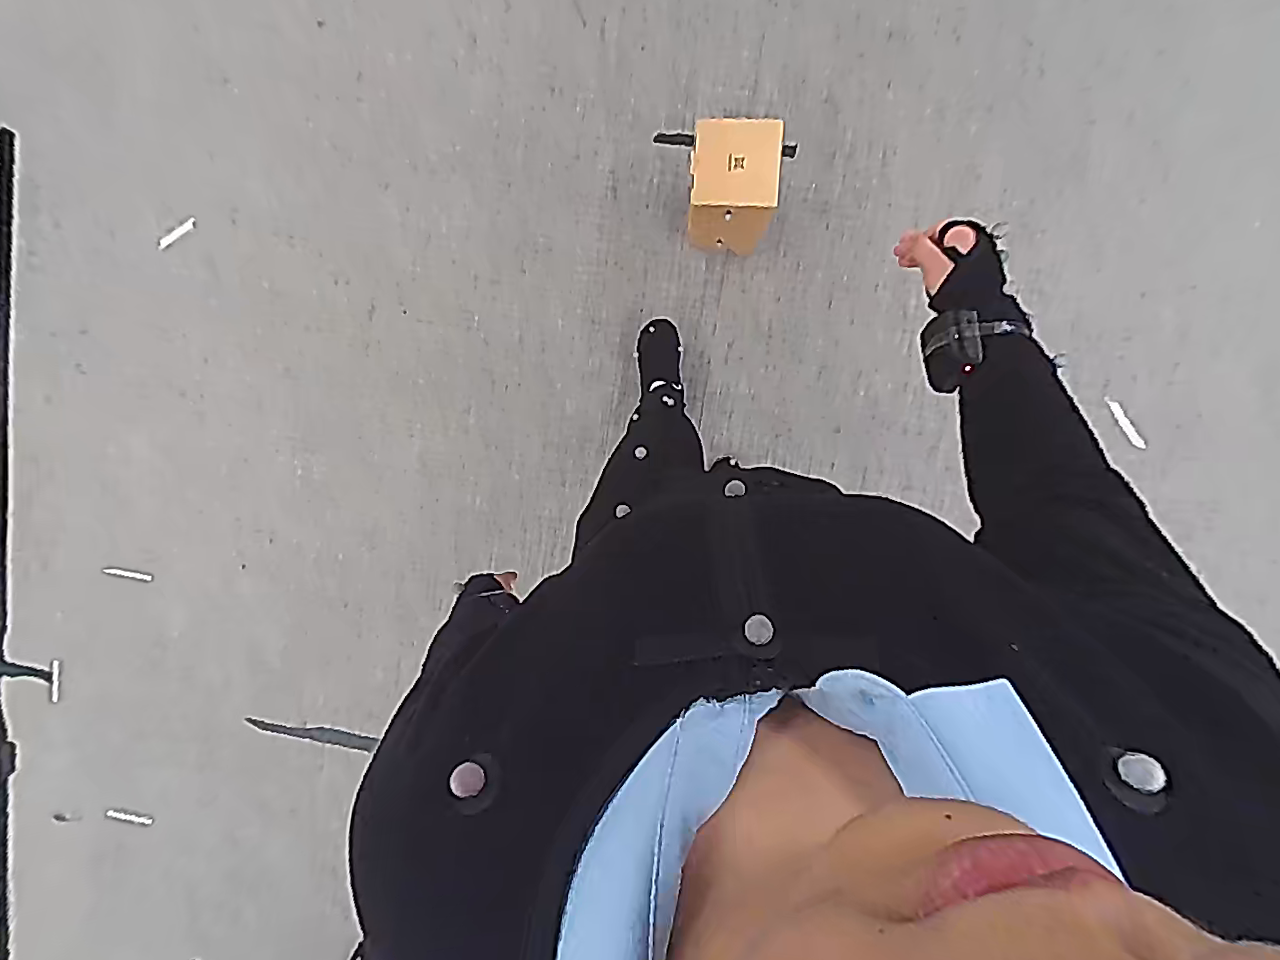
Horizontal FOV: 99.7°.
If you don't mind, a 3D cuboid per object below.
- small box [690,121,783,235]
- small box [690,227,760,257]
[{"bbox_3d":[0.200,-0.641,1.164,0.179,0.176,0.168,3,97,5],"label":"small box"},{"bbox_3d":[0.220,-0.667,1.324,0.168,0.176,0.179,12,97,2],"label":"small box"}]
